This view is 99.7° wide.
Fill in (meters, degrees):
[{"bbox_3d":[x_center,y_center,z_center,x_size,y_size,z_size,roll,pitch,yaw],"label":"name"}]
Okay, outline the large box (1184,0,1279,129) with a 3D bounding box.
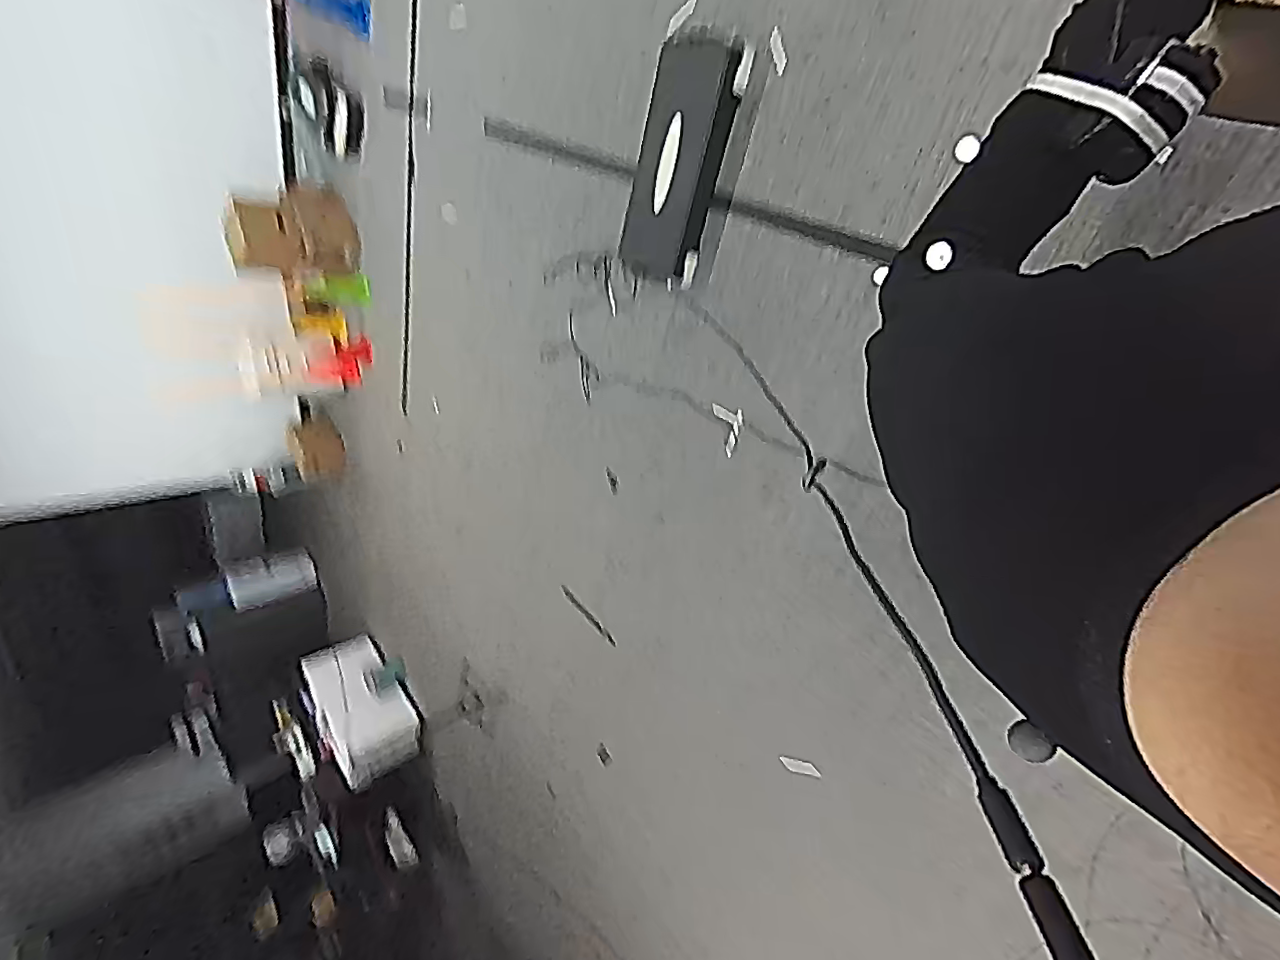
[{"bbox_3d":[0.599,-0.353,0.245,0.408,0.320,0.320,34,126,30],"label":"large box"}]
